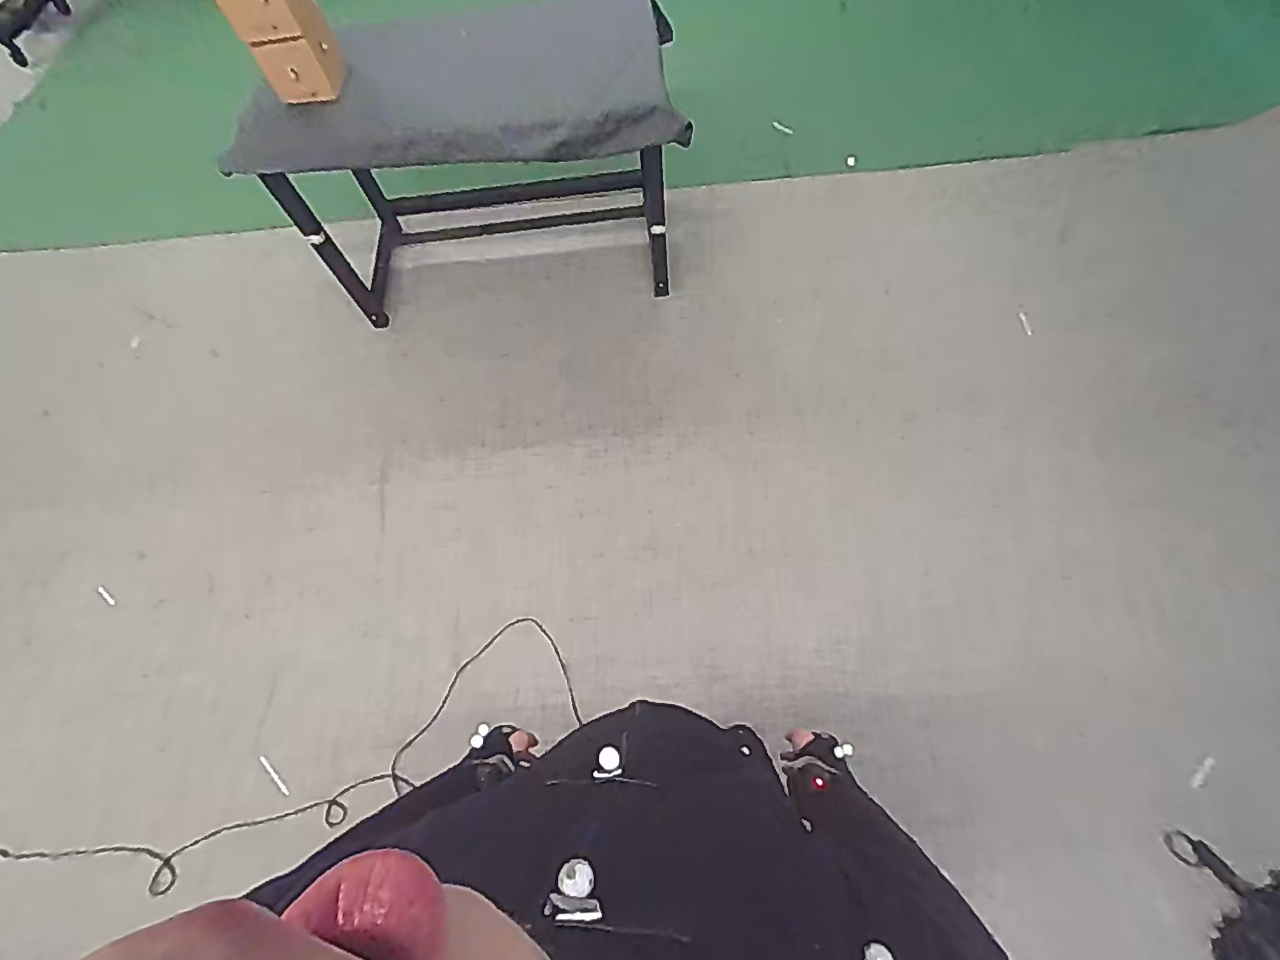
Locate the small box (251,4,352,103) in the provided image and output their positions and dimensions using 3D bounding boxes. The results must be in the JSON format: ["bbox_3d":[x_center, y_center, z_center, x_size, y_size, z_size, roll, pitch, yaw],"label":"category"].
[{"bbox_3d":[-0.961,-1.215,1.553,0.168,0.176,0.179,-3,65,2],"label":"small box"}]

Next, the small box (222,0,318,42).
[{"bbox_3d":[-0.970,-1.272,1.400,0.168,0.176,0.179,-5,64,1],"label":"small box"}]
